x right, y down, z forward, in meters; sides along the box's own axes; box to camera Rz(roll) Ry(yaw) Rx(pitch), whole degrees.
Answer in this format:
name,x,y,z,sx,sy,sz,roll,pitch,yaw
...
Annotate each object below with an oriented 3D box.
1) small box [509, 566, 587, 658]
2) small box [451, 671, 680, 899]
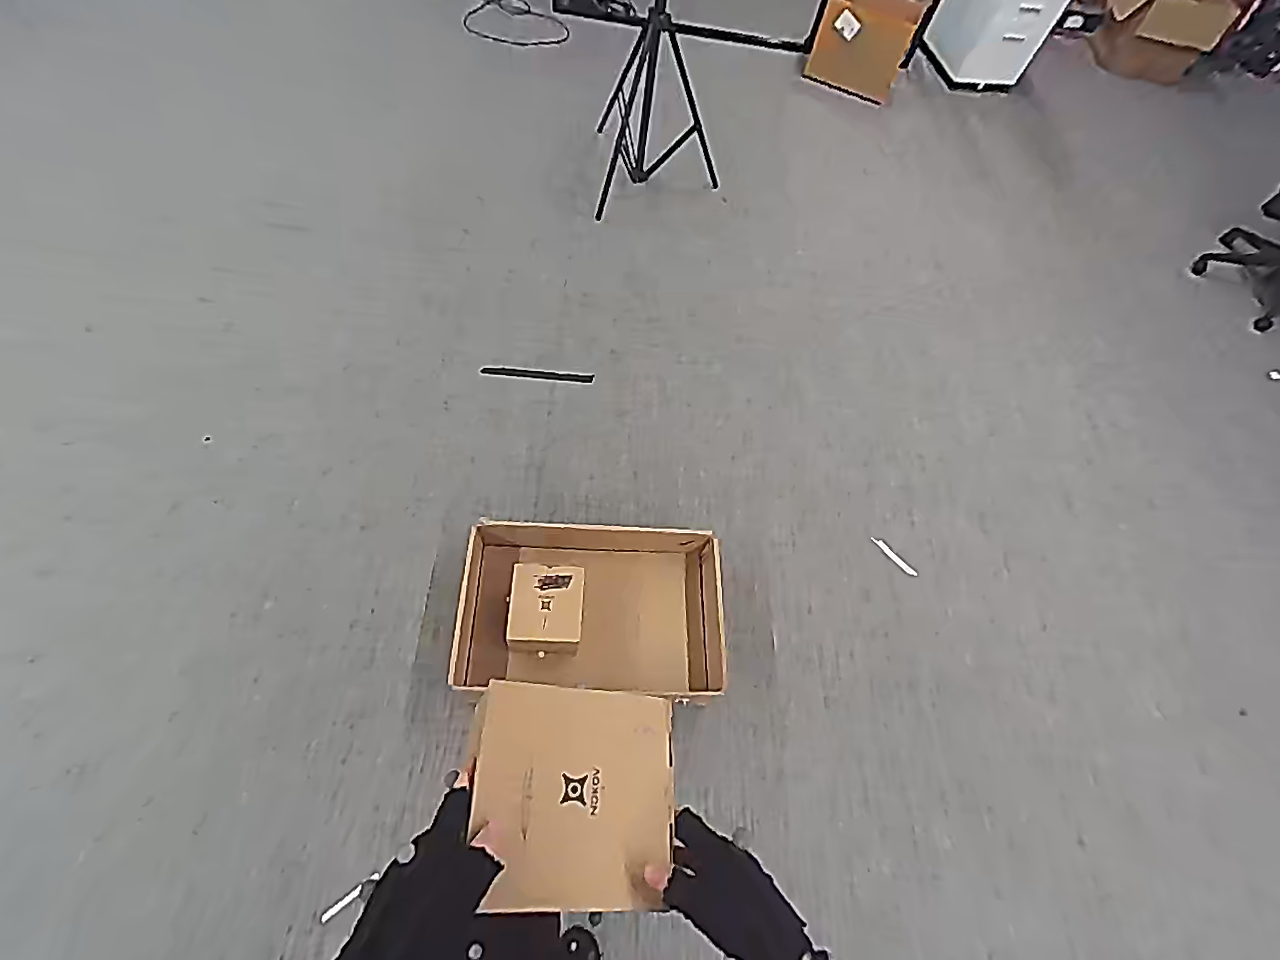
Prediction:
name,x,y,z,sx,sy,sz,roll,pitch,yaw
small box,-0.219,0.321,1.302,0.168,0.176,0.179,4,63,-7
small box,-0.074,0.297,0.525,0.179,0.176,0.168,12,54,-15
